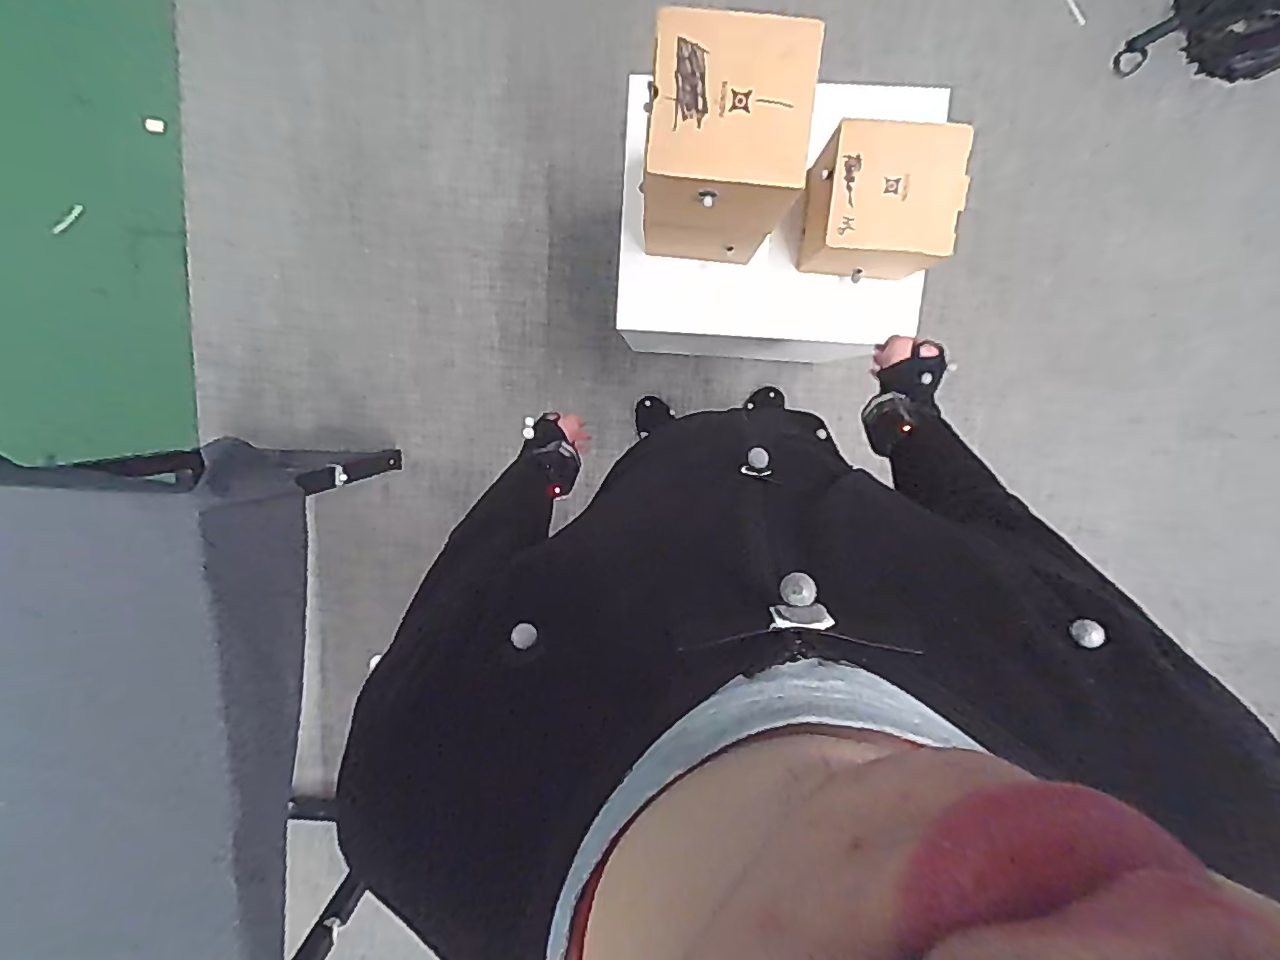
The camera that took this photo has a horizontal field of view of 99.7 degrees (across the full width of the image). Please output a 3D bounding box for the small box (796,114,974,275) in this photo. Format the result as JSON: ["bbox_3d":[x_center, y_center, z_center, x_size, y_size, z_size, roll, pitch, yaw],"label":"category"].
[{"bbox_3d":[0.348,-0.408,0.802,0.179,0.176,0.168,6,100,2],"label":"small box"}]

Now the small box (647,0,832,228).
[{"bbox_3d":[0.102,-0.413,0.639,0.179,0.176,0.168,5,100,-1],"label":"small box"}]

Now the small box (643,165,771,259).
[{"bbox_3d":[0.099,-0.437,0.802,0.179,0.176,0.168,5,99,1],"label":"small box"}]
